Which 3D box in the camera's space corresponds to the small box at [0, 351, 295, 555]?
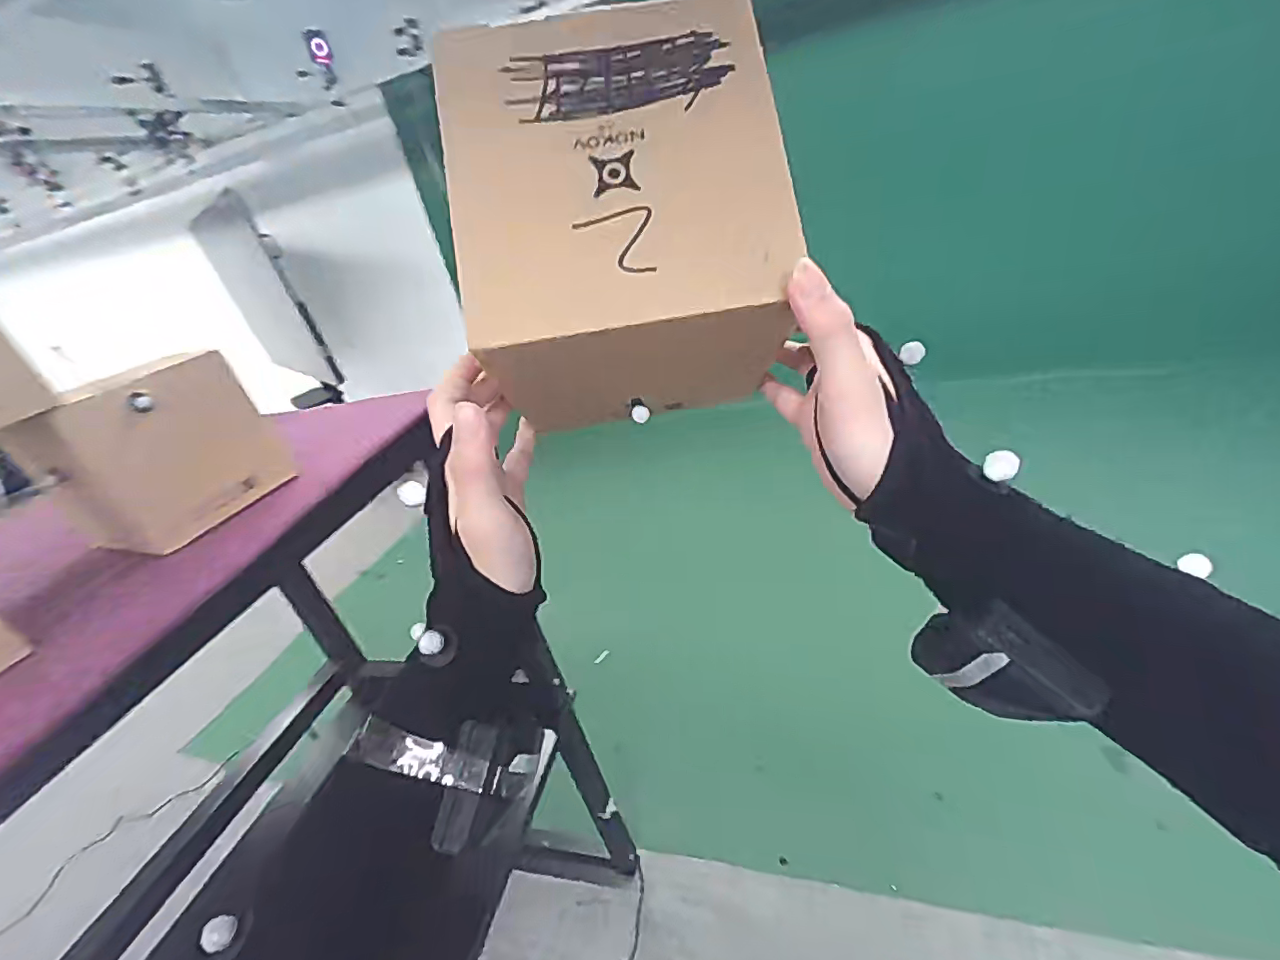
[{"bbox_3d":[-0.555,-0.030,0.621,0.179,0.176,0.168,-1,33,27],"label":"small box"}]
